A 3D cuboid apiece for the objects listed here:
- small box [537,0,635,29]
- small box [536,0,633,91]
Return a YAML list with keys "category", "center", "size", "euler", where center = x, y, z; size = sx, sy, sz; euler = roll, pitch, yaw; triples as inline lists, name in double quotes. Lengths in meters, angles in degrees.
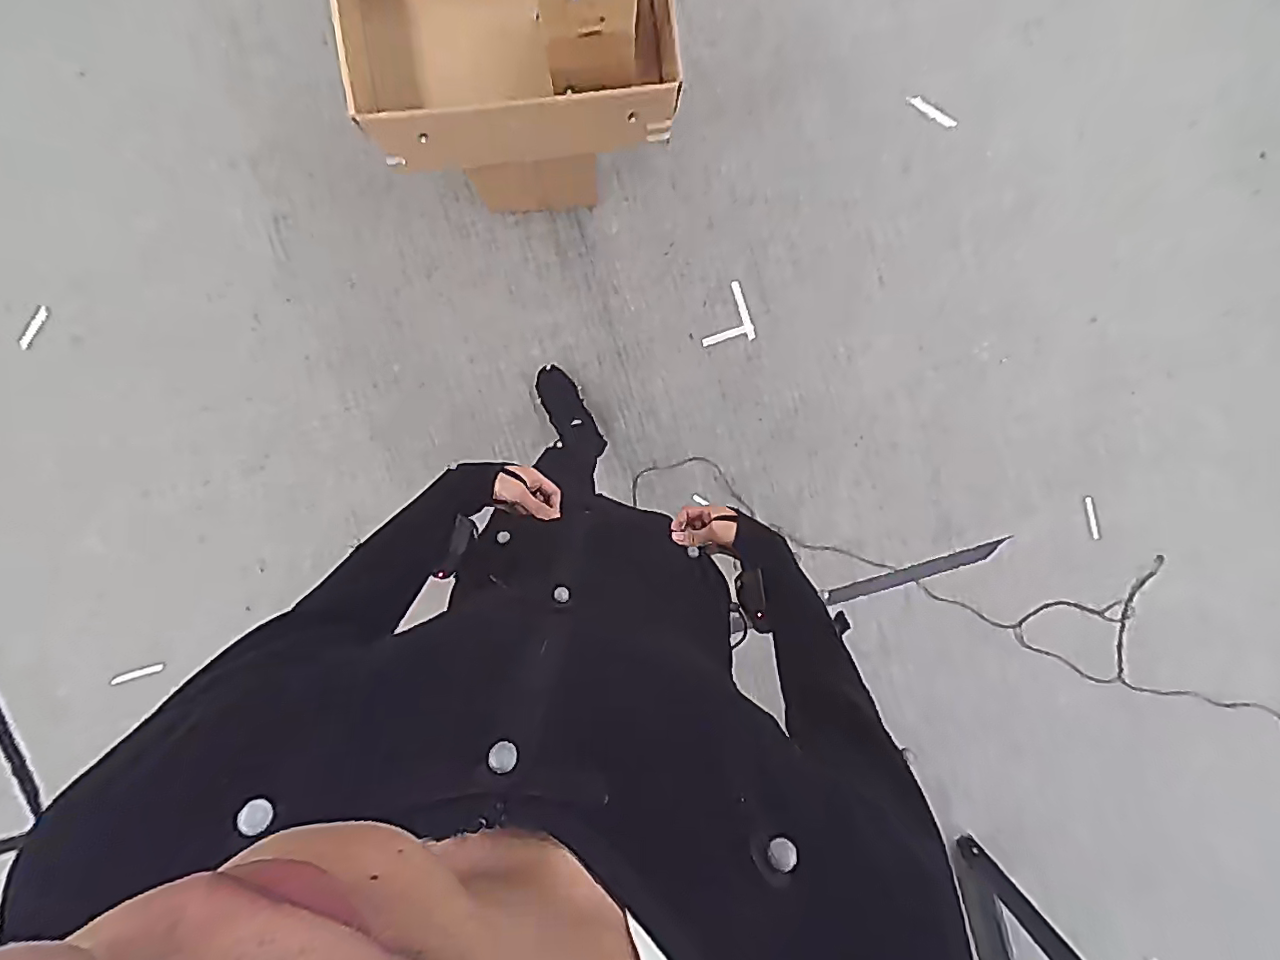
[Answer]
- category: "small box"
  center: [-0.098, -0.867, 0.863]
  size: [0.168, 0.176, 0.179]
  euler: [-10, 94, -2]
- category: "small box"
  center: [-0.108, -0.877, 1.025]
  size: [0.168, 0.176, 0.179]
  euler: [-11, 94, -2]
